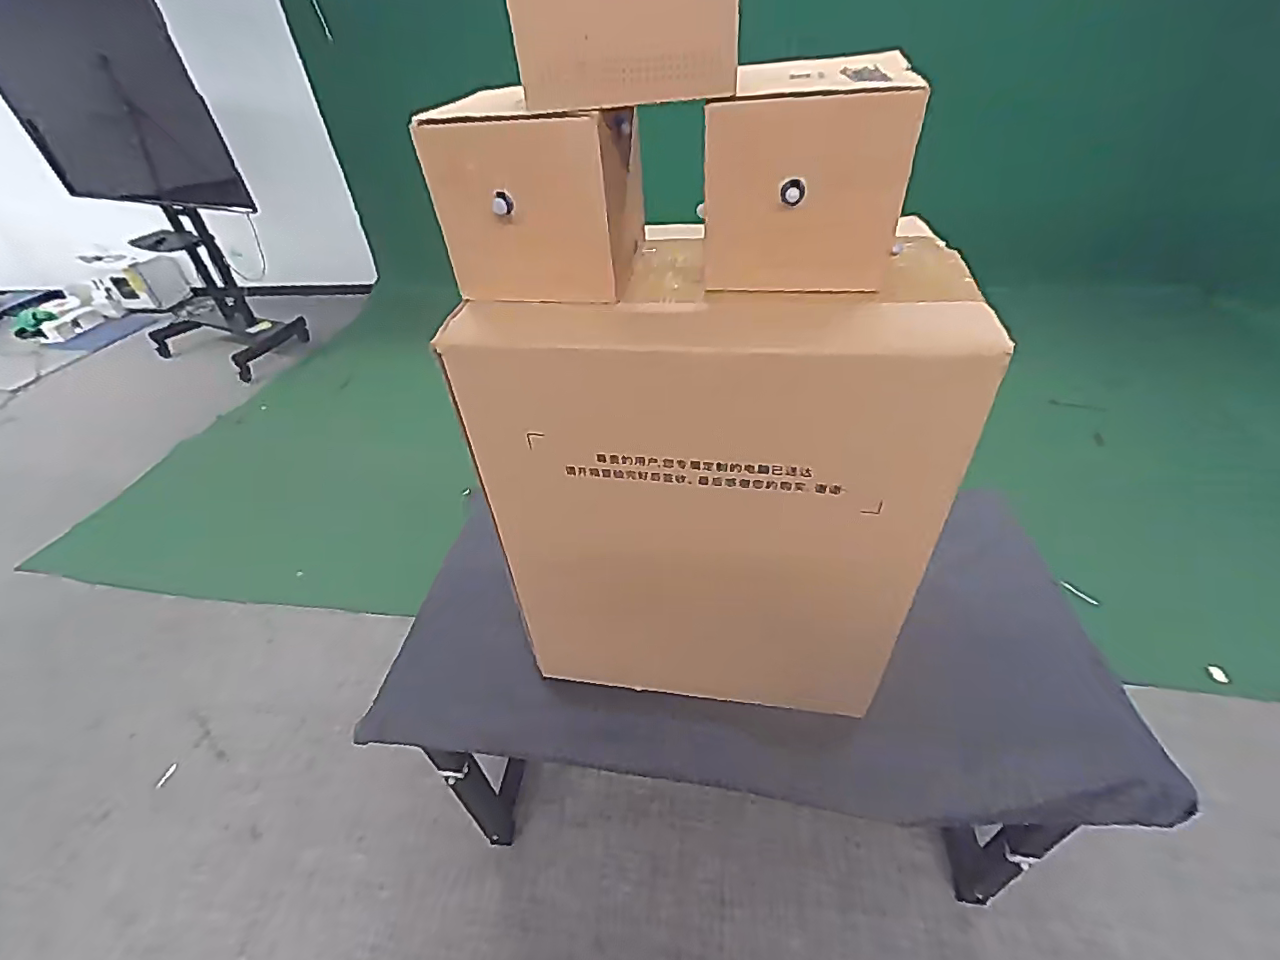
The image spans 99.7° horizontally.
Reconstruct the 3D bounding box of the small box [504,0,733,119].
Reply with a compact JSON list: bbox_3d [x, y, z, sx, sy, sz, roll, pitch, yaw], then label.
[{"bbox_3d":[-0.015,-0.417,0.449,0.179,0.176,0.168,-4,42,4],"label":"small box"}]

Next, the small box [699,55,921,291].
[{"bbox_3d":[0.156,-0.302,0.543,0.179,0.176,0.168,4,45,12],"label":"small box"}]

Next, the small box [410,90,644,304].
[{"bbox_3d":[-0.100,-0.301,0.574,0.179,0.176,0.168,5,45,11],"label":"small box"}]
